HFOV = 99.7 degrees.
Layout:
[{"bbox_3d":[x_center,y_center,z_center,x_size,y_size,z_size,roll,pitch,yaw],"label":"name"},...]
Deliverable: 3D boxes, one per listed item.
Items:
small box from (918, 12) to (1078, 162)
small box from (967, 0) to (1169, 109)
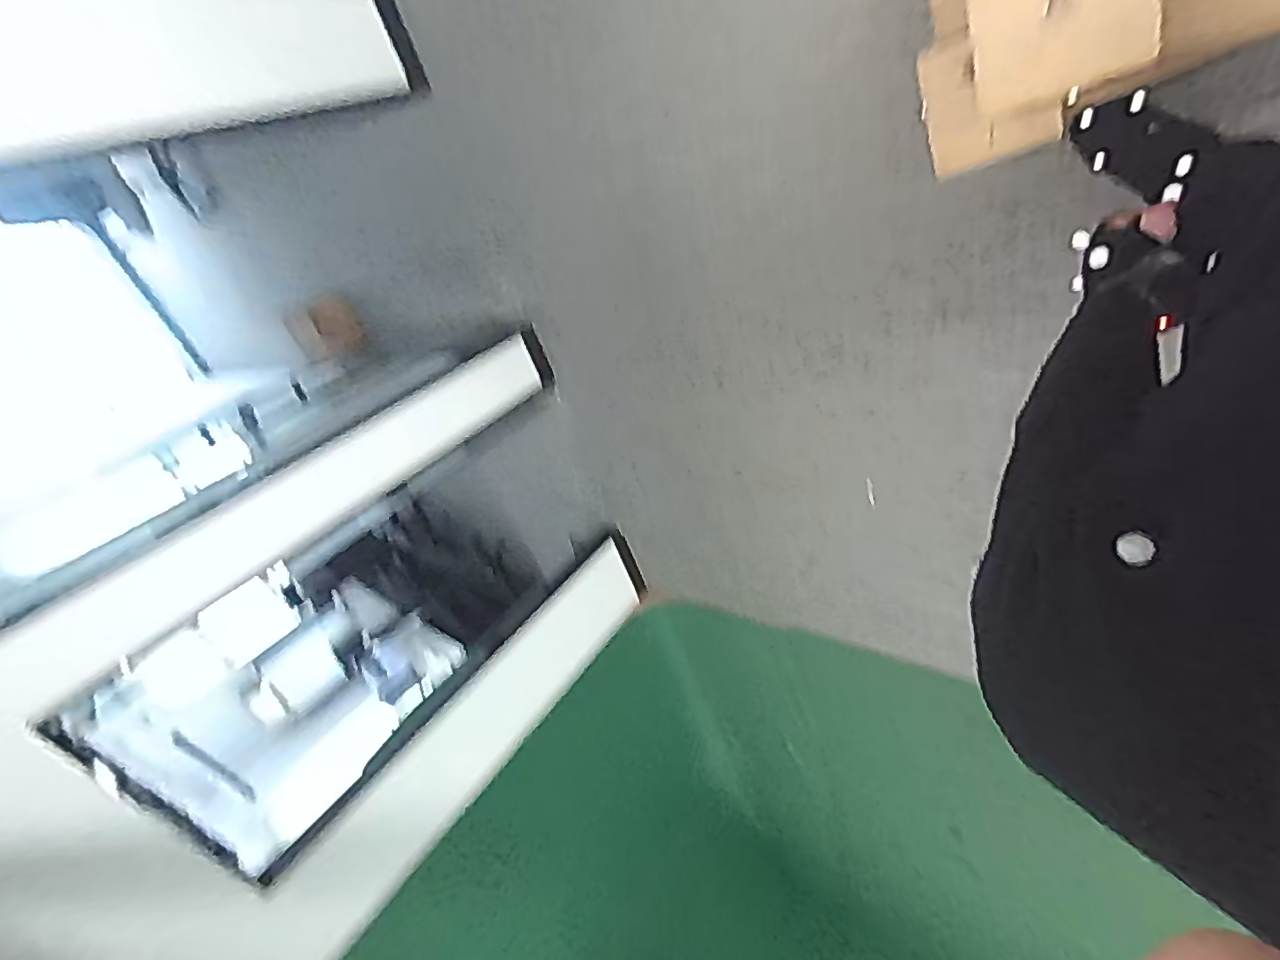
[{"bbox_3d":[0.542,-0.622,0.814,0.168,0.176,0.179,1,130,46],"label":"small box"},{"bbox_3d":[0.492,-0.575,0.620,0.168,0.176,0.179,3,130,45],"label":"small box"}]
